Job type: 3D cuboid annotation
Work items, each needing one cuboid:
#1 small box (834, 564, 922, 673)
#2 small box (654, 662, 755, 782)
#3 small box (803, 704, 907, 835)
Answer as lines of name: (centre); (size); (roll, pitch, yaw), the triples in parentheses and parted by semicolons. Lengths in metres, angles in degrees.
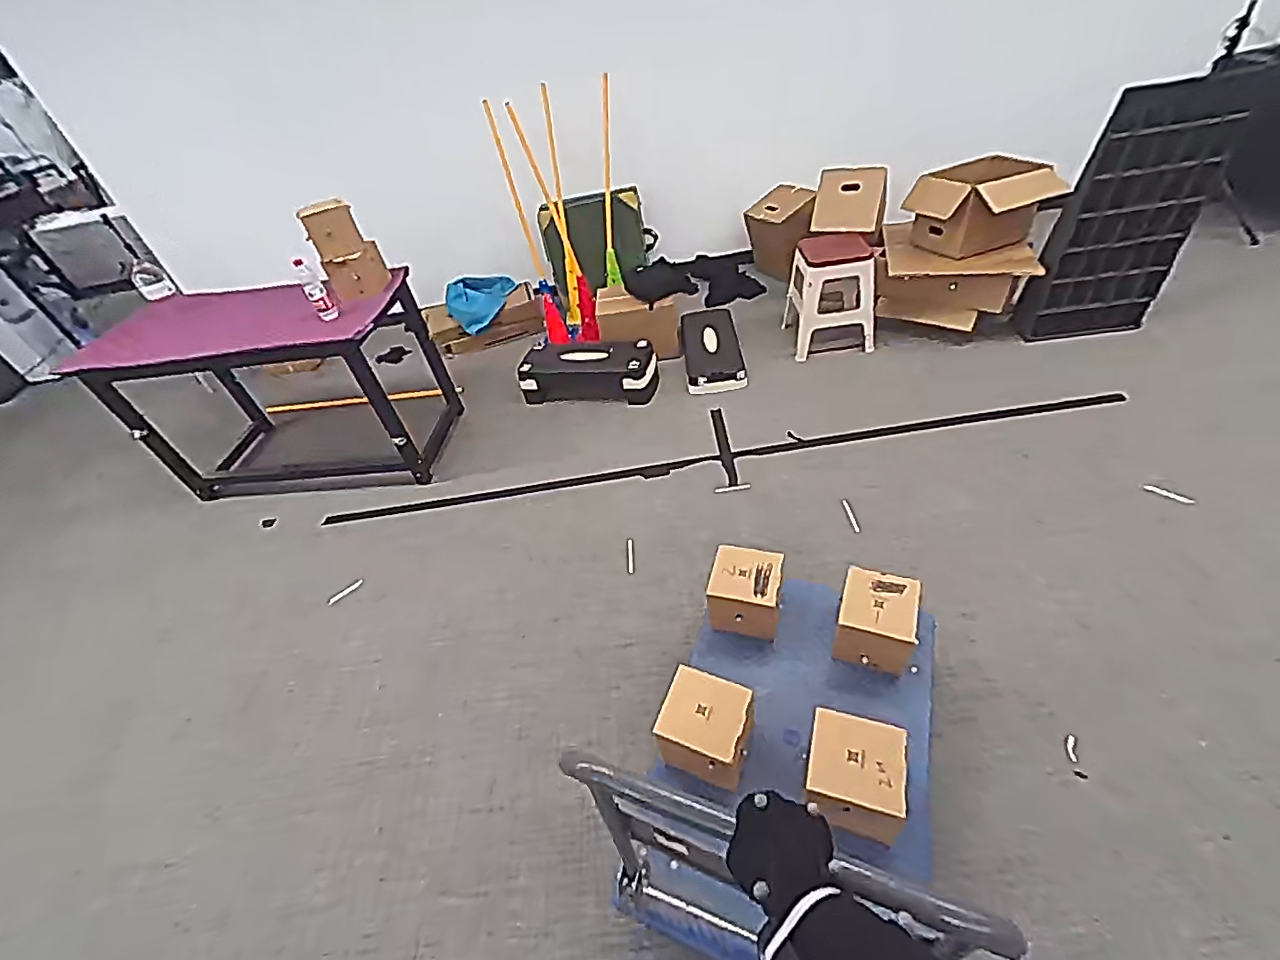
small box: (0.583, 0.341, 1.337); (0.168, 0.176, 0.179); (11, 49, 23)
small box: (0.150, 0.547, 1.217); (0.179, 0.176, 0.168); (13, 48, 22)
small box: (0.435, 0.593, 1.104); (0.179, 0.176, 0.168); (8, 47, 20)
